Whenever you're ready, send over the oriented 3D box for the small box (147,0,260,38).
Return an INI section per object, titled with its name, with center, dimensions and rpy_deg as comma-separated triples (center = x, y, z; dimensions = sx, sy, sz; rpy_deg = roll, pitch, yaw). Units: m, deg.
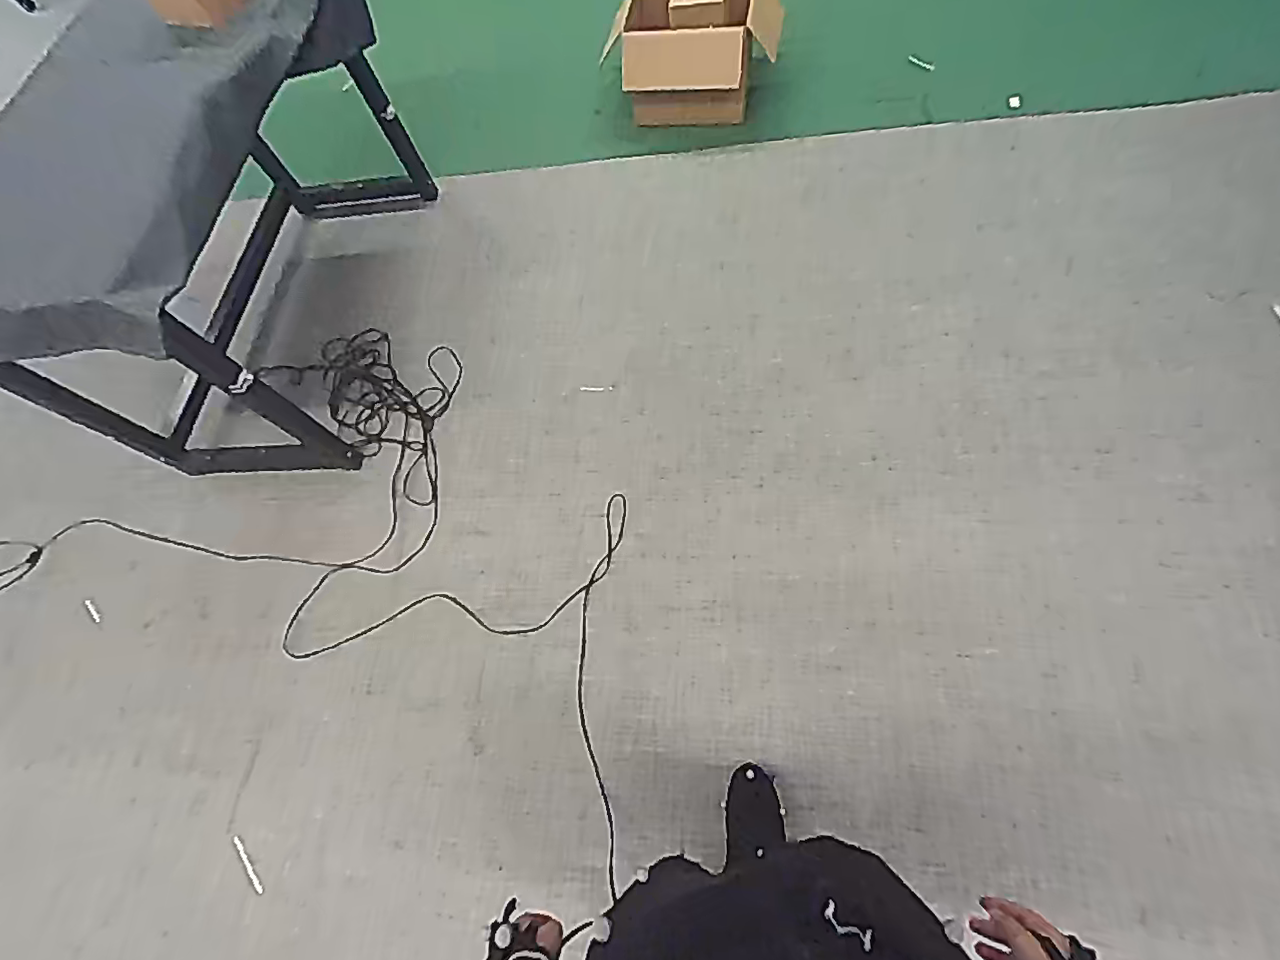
[small box]
center = -1.048, -1.171, 1.260
dimensions = 0.179, 0.176, 0.168
rpy_deg = 16, 68, 17
